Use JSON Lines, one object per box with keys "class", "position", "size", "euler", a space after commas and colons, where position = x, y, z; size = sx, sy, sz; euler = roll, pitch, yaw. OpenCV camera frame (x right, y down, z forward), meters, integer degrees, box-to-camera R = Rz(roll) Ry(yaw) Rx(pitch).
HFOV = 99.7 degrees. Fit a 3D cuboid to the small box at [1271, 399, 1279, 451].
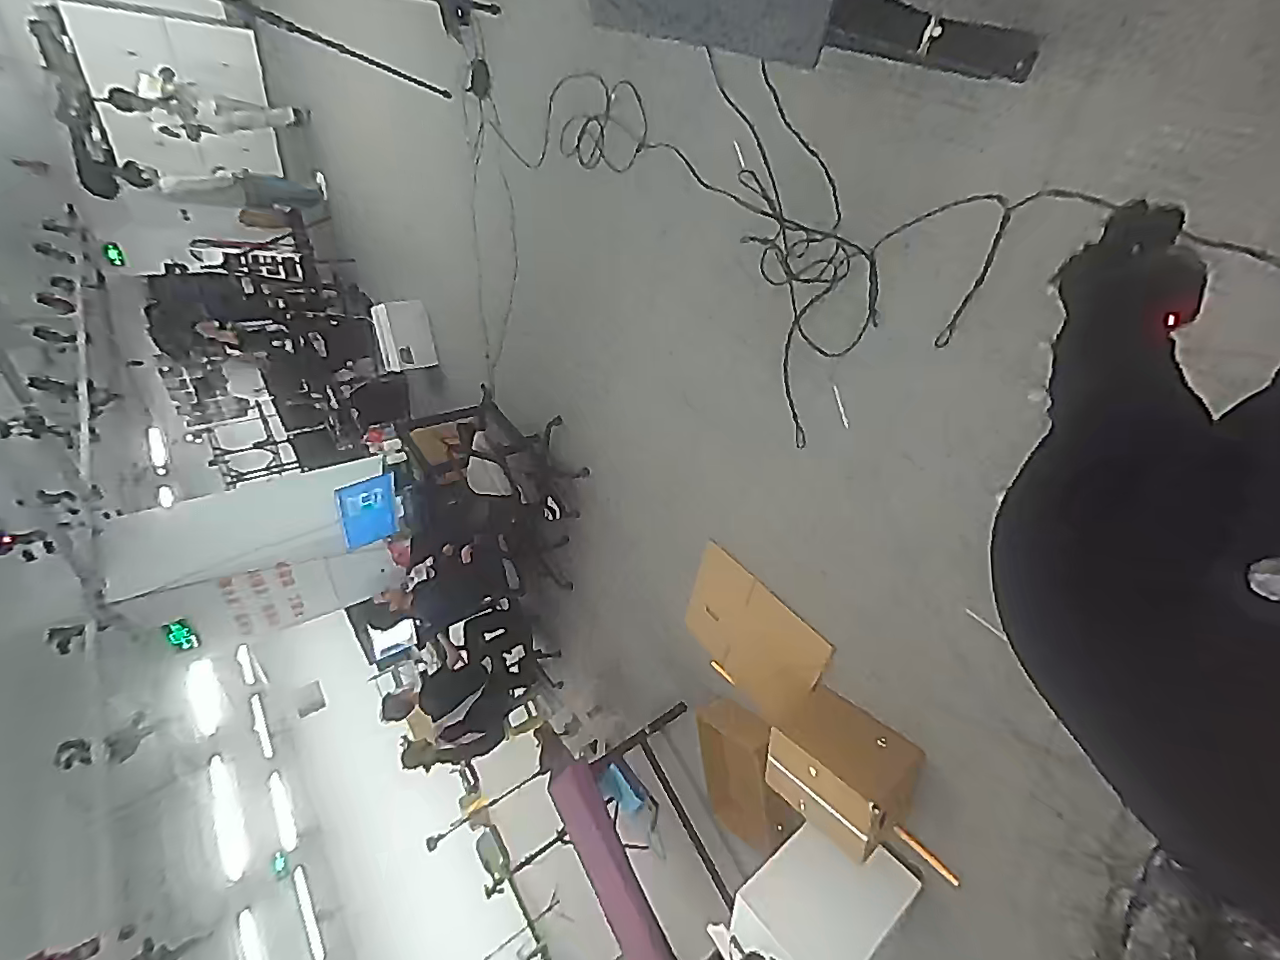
{"class": "small box", "position": [1.185, -0.115, 0.863], "size": [0.179, 0.176, 0.168], "euler": [-125, 32, -73]}
